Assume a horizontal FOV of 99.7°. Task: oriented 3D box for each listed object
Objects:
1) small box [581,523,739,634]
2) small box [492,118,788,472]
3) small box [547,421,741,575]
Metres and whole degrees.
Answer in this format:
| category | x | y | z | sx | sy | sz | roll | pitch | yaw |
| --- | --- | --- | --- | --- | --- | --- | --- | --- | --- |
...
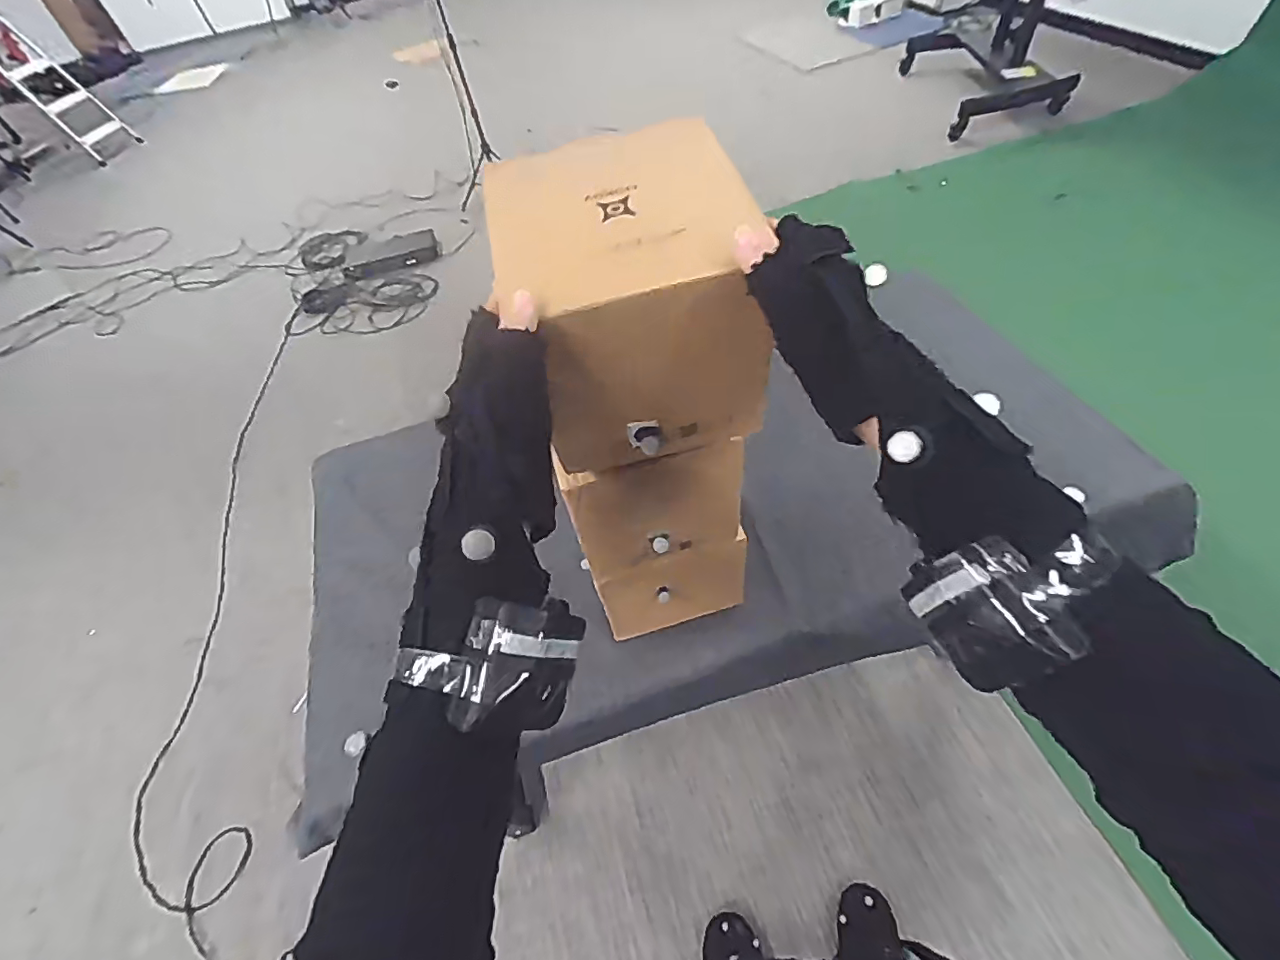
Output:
| category | x | y | z | sx | sy | sz | roll | pitch | yaw |
| --- | --- | --- | --- | --- | --- | --- | --- | --- | --- |
| small box | 0.020 | 0.078 | 0.703 | 0.179 | 0.176 | 0.168 | -16 | 52 | -4 |
| small box | -0.004 | -0.132 | 0.412 | 0.168 | 0.176 | 0.179 | -13 | 59 | -1 |
| small box | -0.002 | -0.027 | 0.578 | 0.168 | 0.176 | 0.179 | -15 | 52 | -4 |
